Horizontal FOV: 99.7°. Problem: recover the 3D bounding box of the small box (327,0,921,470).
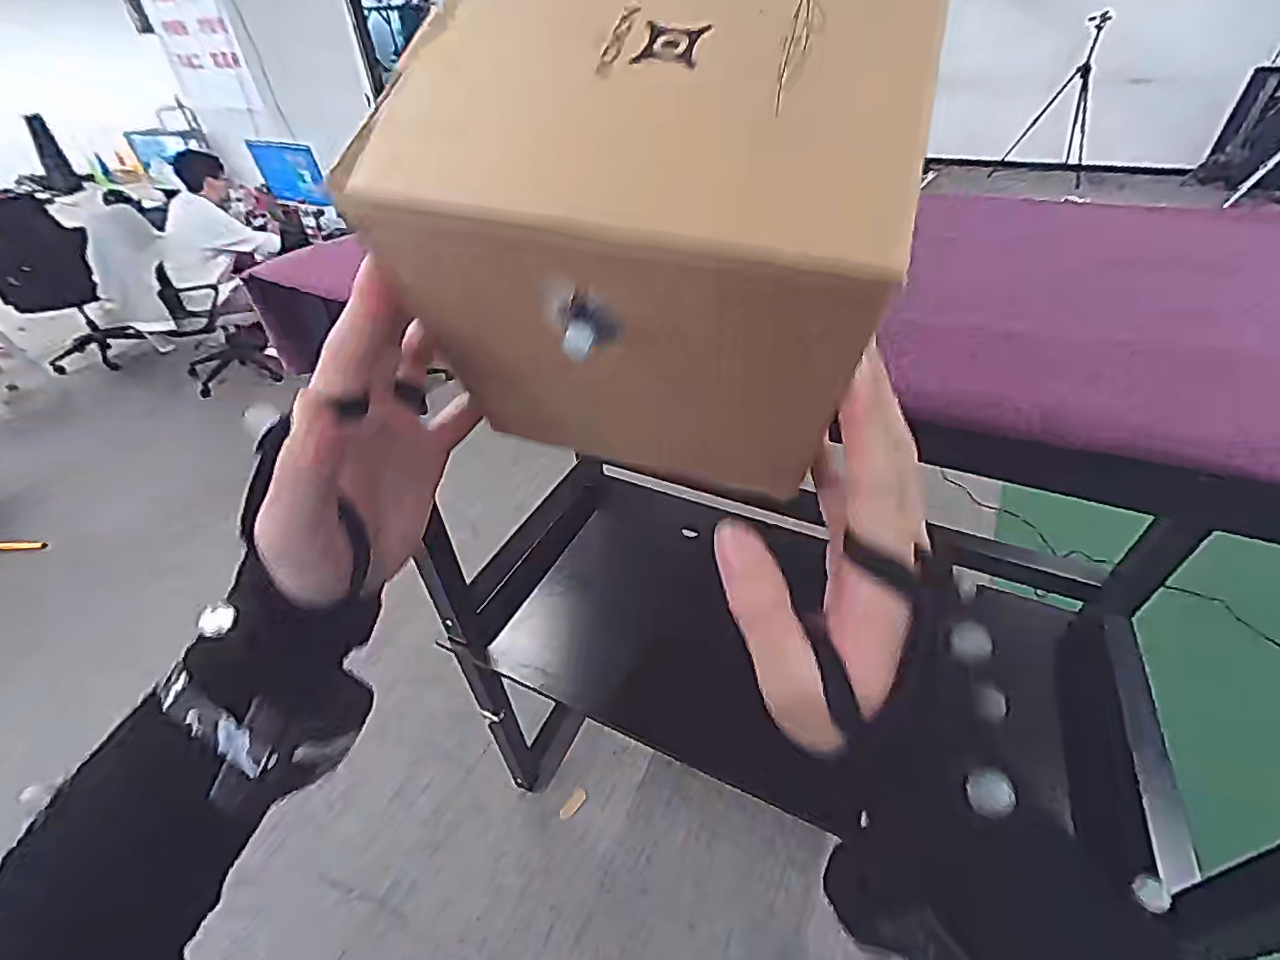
[{"bbox_3d":[0.010,-0.121,0.258,0.179,0.176,0.168,14,69,11],"label":"small box"}]
